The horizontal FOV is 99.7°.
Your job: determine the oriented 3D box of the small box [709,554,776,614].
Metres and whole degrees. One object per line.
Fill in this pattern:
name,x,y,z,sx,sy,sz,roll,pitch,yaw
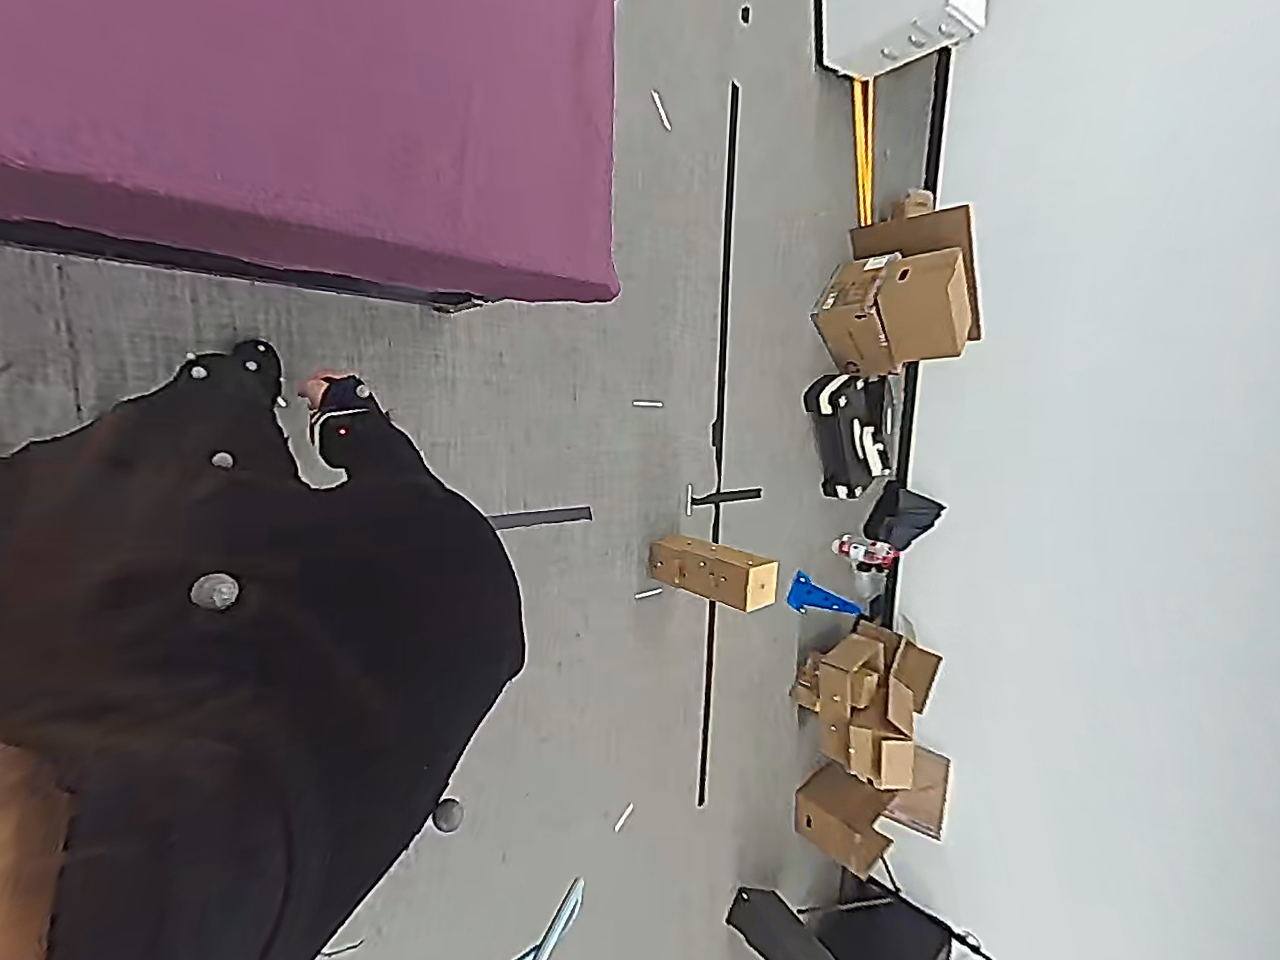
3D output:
small box,0.386,0.386,2.039,0.179,0.176,0.168,-5,101,-41

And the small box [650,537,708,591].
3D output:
small box,0.164,0.348,2.278,0.179,0.176,0.168,-9,103,-40
